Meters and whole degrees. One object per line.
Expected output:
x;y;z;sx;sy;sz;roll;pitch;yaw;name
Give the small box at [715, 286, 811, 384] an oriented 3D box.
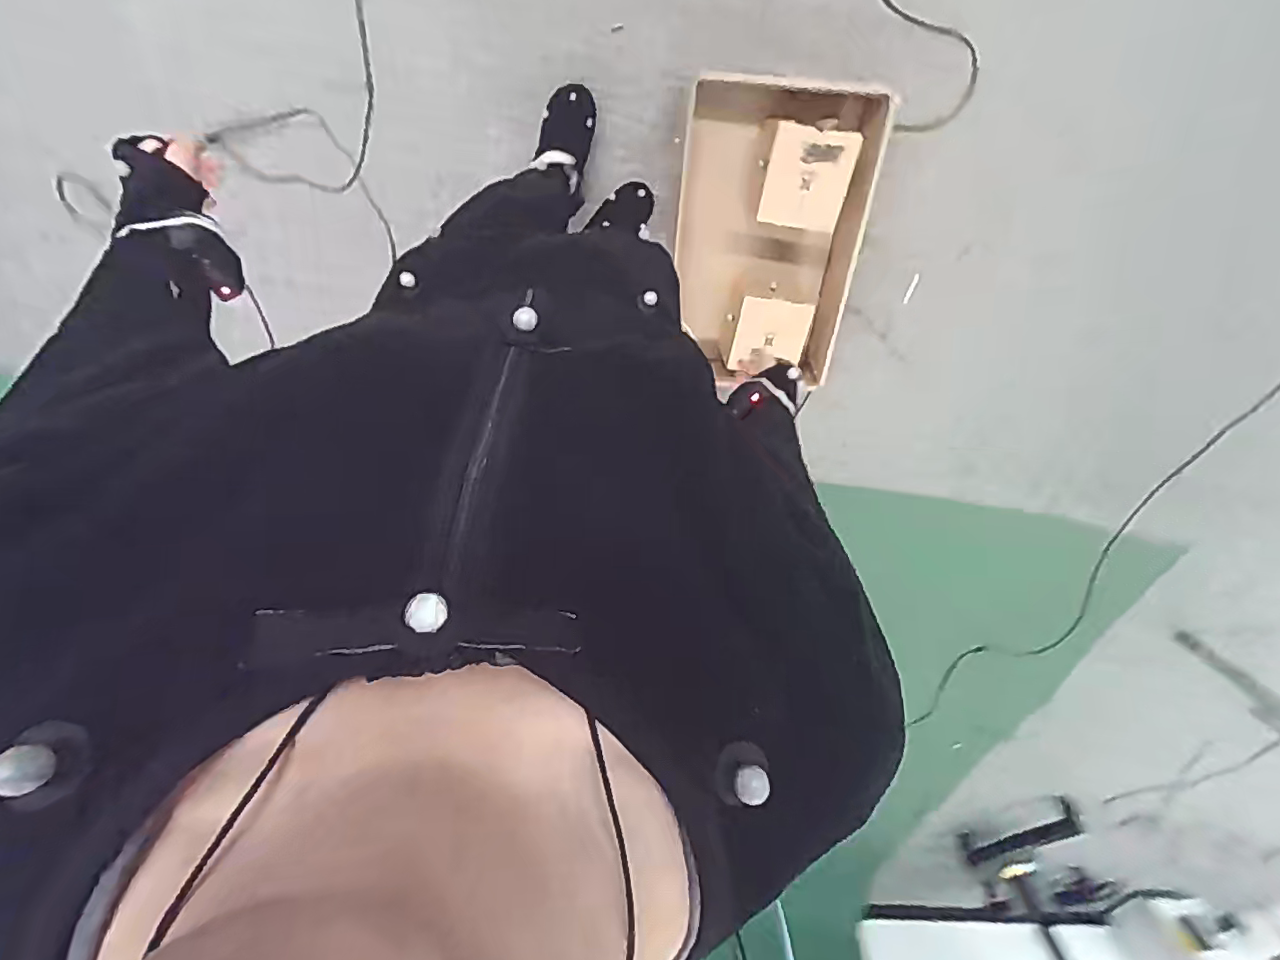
0.284;-0.353;1.301;0.168;0.176;0.179;8;121;-6;small box
